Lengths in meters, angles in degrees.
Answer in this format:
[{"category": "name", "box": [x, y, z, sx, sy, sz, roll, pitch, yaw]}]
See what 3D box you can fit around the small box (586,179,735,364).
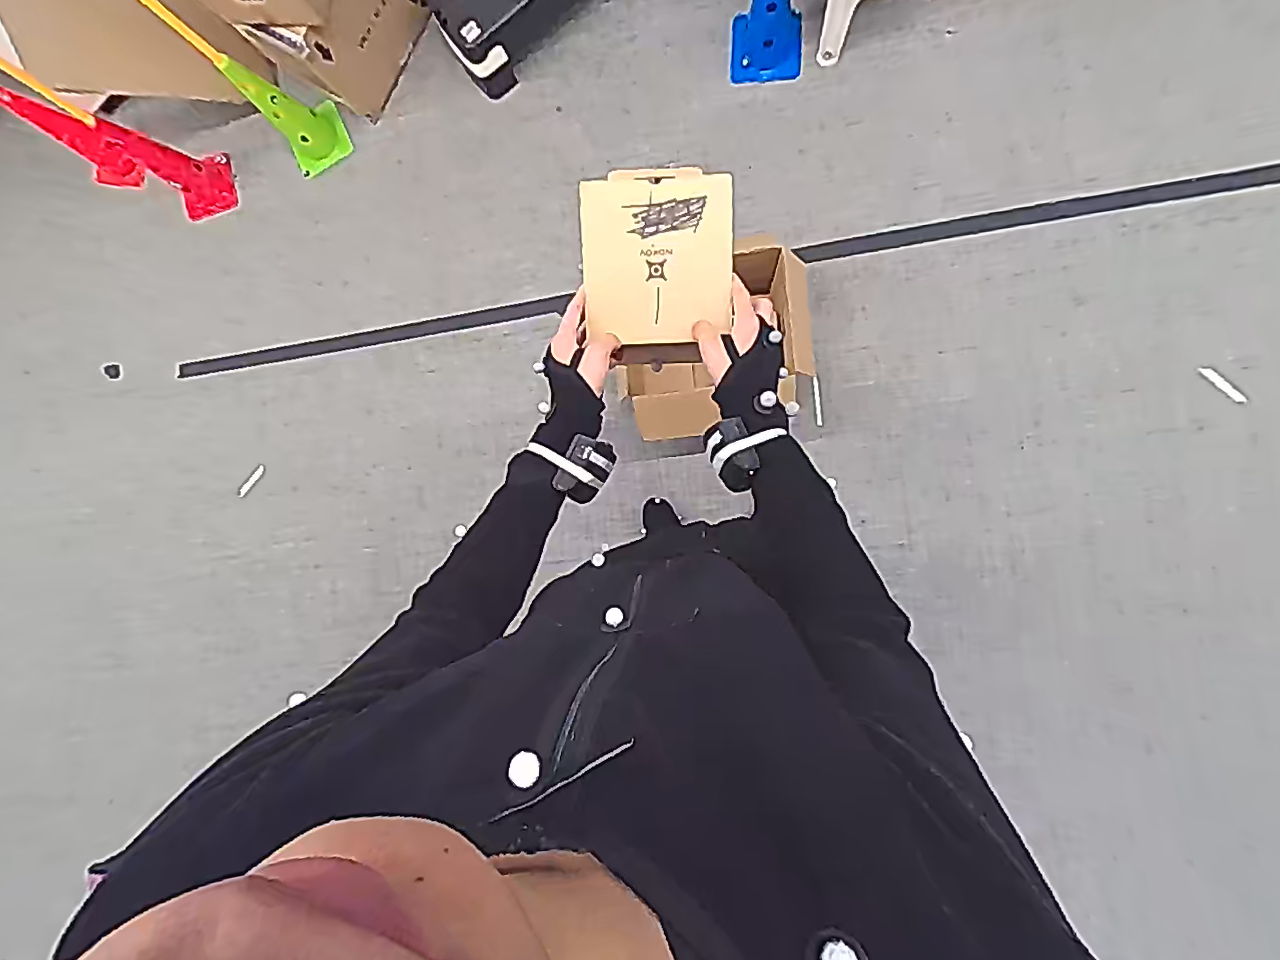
[{"category": "small box", "box": [0.026, -0.246, 0.675, 0.168, 0.176, 0.179, -1, 95, 3]}]
